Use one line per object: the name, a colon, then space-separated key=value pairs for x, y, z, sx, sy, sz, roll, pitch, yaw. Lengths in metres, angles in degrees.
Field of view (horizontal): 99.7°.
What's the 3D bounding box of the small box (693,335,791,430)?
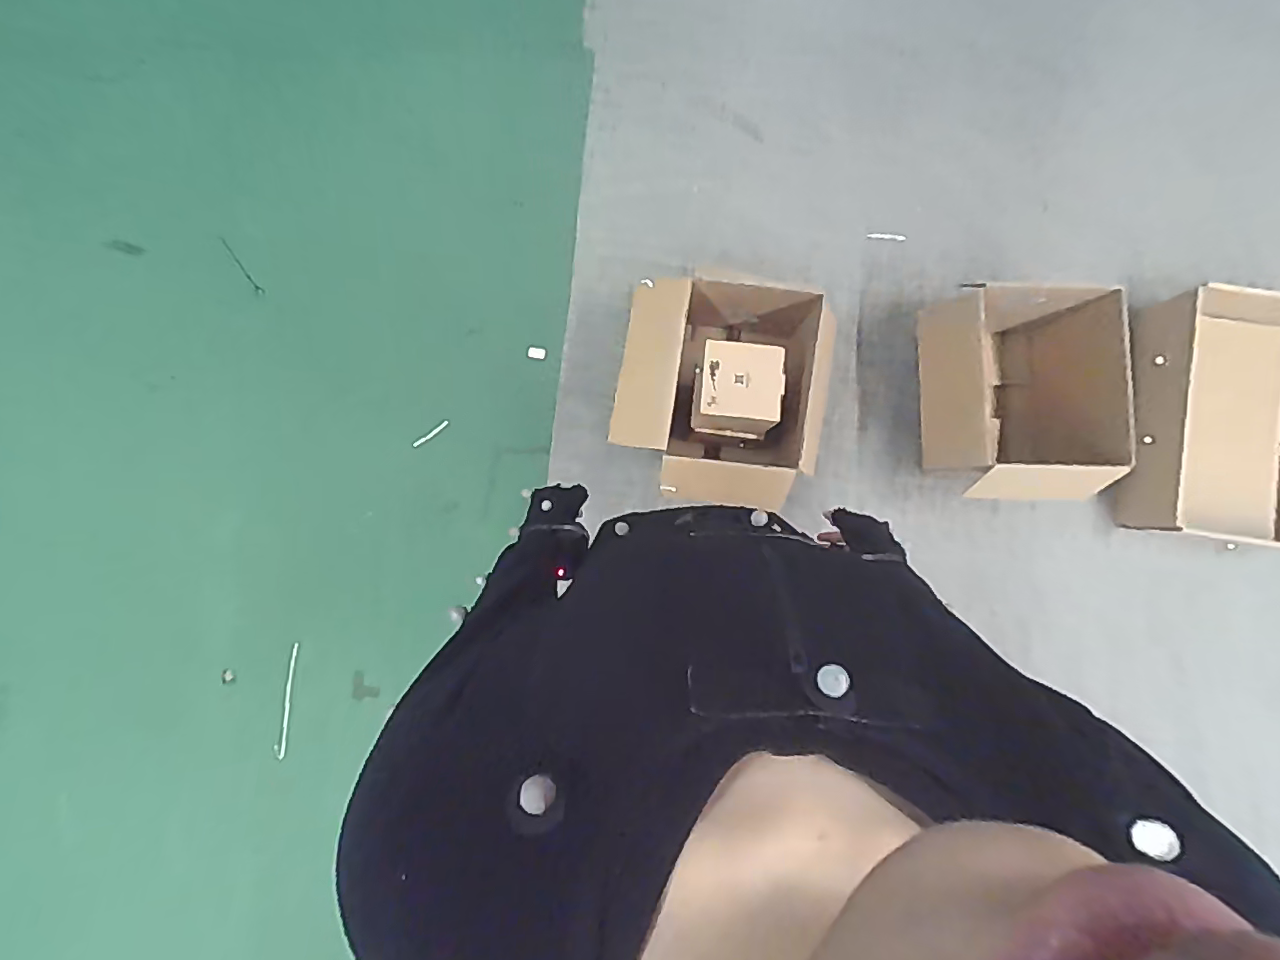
small box: x=0.226 y=-0.213 z=1.230 sx=0.179 sy=0.176 sz=0.168 roll=7 pitch=85 yaw=-2
